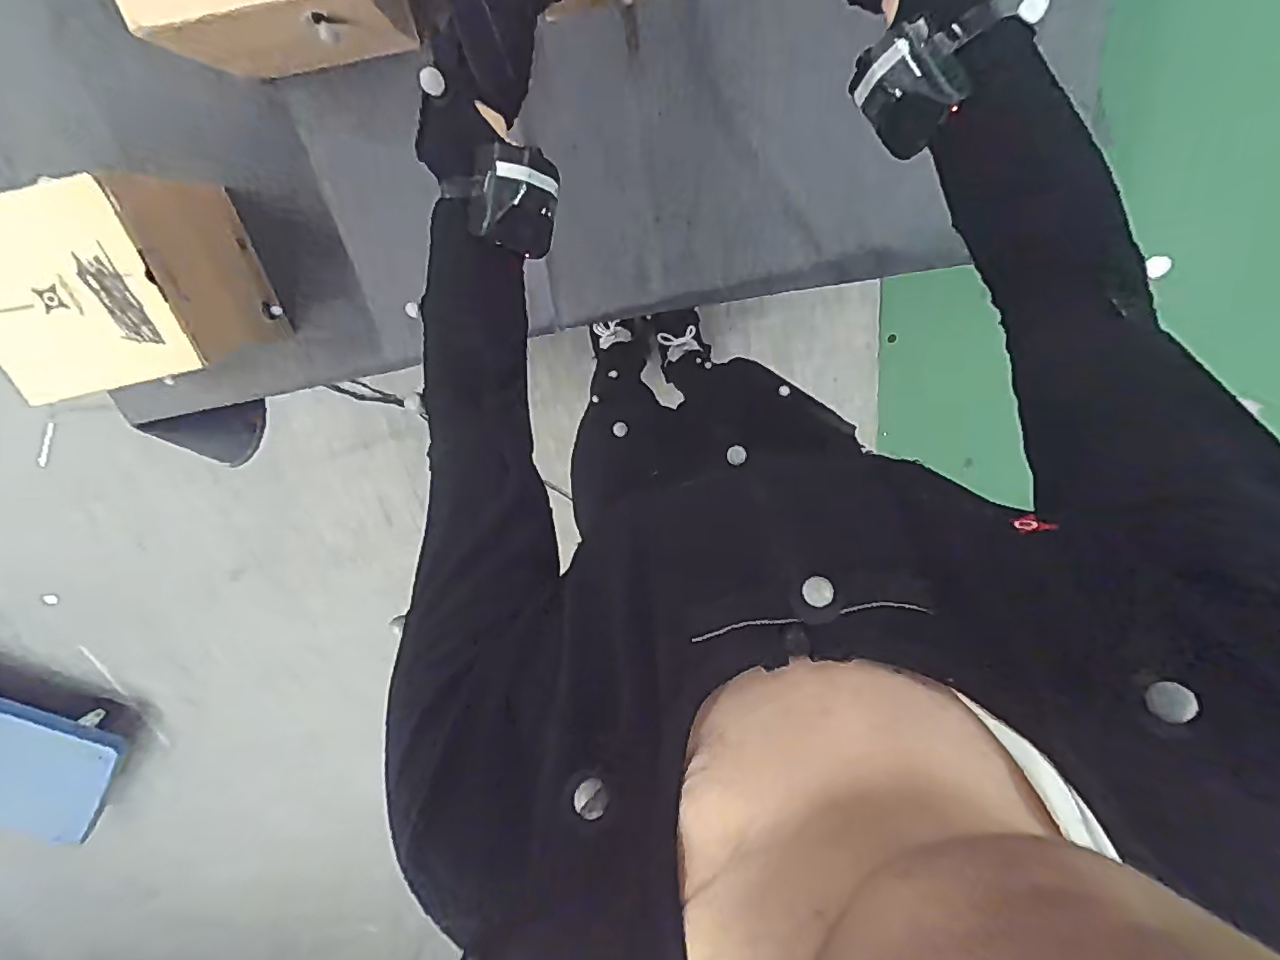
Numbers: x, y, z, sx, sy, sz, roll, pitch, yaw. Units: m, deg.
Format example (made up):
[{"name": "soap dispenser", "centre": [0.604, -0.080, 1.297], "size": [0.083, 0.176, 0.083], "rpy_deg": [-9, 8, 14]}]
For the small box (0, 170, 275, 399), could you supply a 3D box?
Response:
[{"name": "small box", "centre": [-0.511, -0.198, 0.542], "size": [0.179, 0.176, 0.168], "rpy_deg": [-12, 115, 2]}]

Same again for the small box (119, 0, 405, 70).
[{"name": "small box", "centre": [-0.310, -0.457, 0.433], "size": [0.179, 0.176, 0.168], "rpy_deg": [-11, 117, 0]}]
